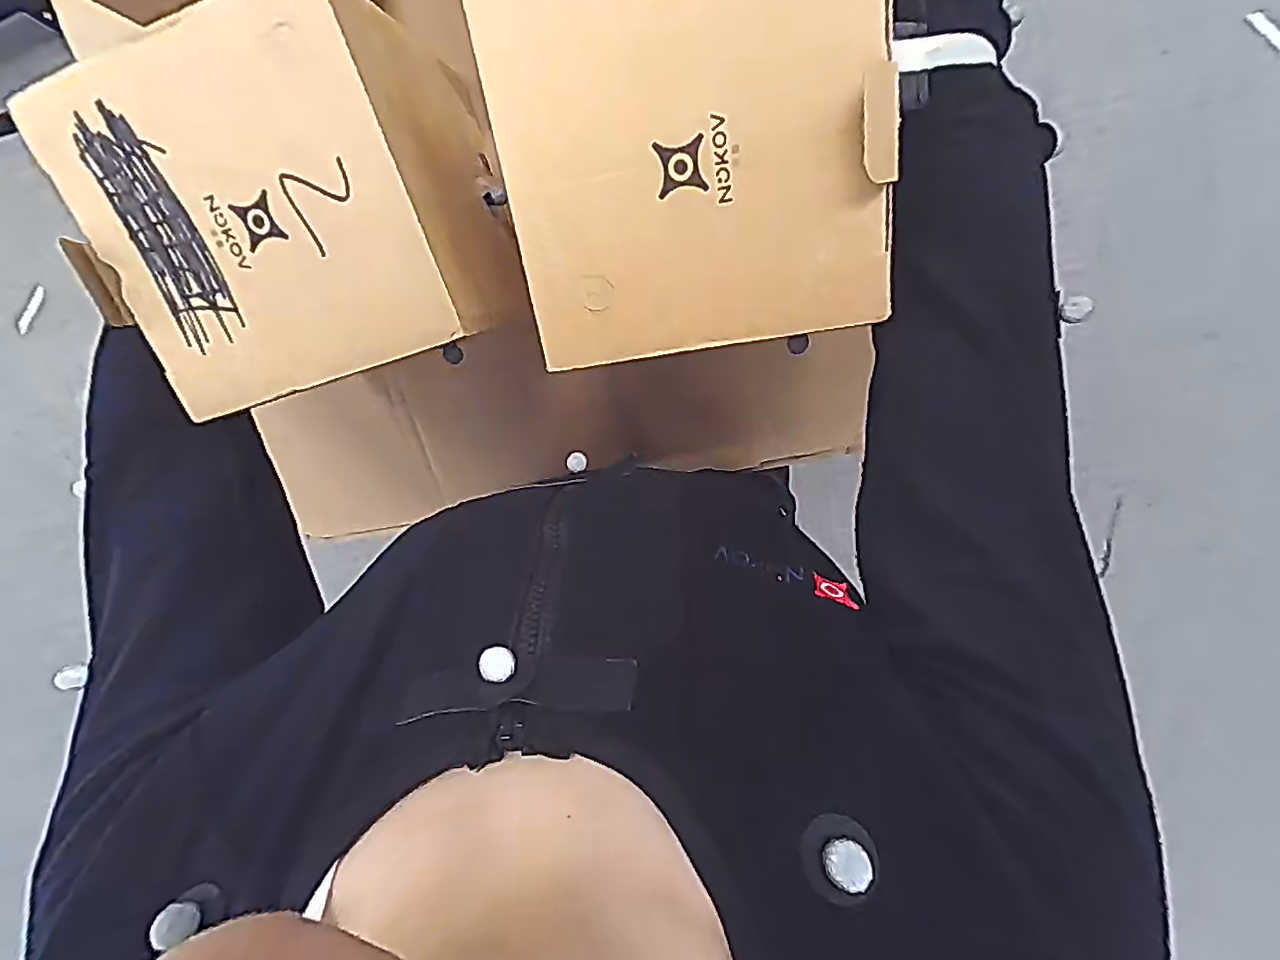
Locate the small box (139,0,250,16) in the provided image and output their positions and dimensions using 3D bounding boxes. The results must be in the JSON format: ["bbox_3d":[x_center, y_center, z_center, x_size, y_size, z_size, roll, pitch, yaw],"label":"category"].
[{"bbox_3d":[-0.274,-0.386,0.275,0.168,0.176,0.179,-11,107,9],"label":"small box"}]
